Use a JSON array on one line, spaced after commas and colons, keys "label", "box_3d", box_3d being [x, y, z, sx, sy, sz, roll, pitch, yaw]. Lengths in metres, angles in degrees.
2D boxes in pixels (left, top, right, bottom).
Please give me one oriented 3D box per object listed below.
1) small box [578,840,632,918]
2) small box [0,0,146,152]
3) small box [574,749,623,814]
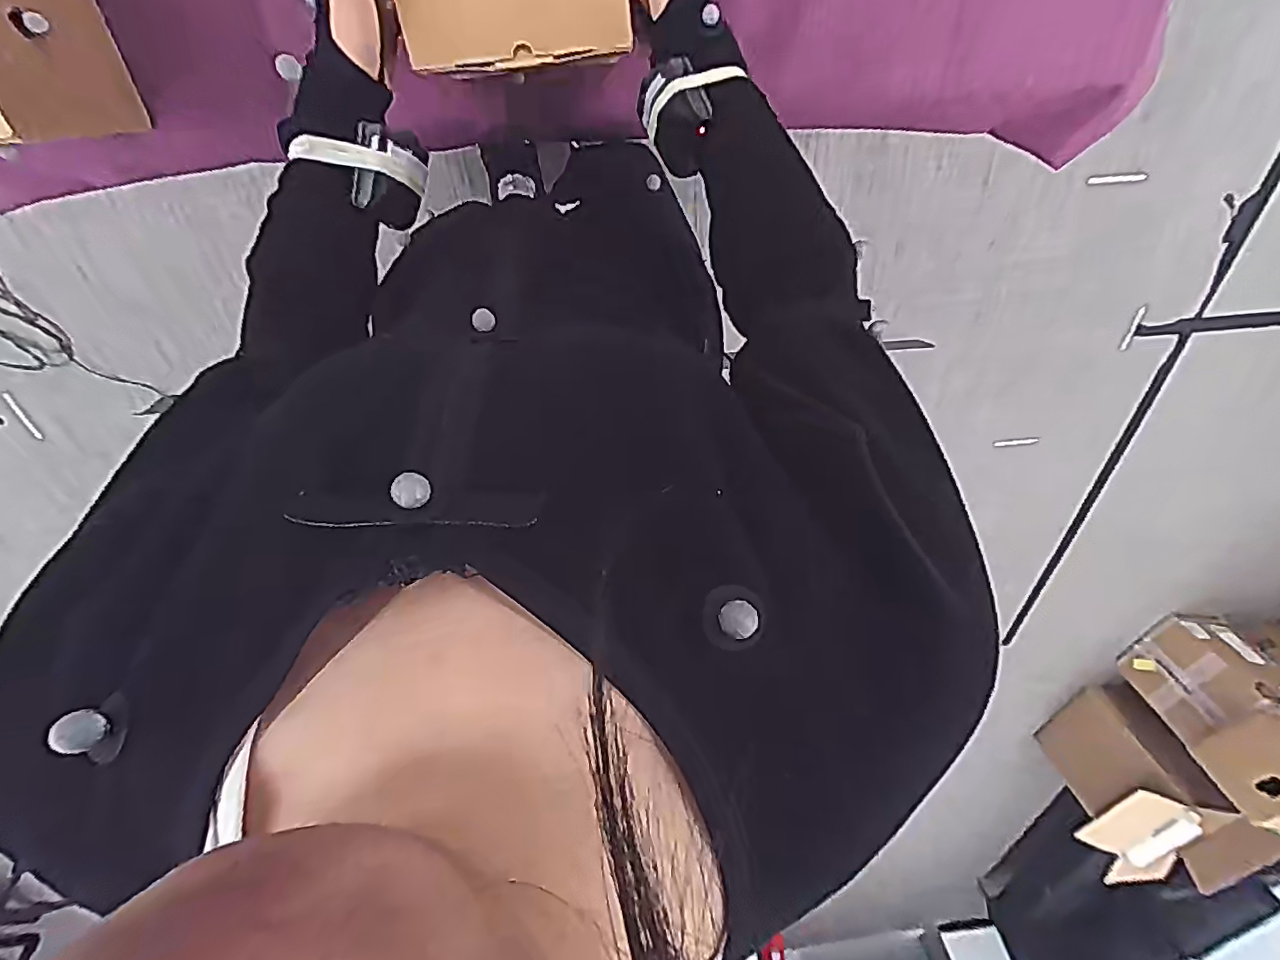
[{"label": "small box", "box_3d": [-0.124, 1.383, 1.877, 0.179, 0.176, 0.168, -3, 126, -6]}, {"label": "small box", "box_3d": [-0.543, -0.356, 0.406, 0.168, 0.176, 0.179, -5, 127, -5]}, {"label": "small box", "box_3d": [-0.165, 1.189, 2.140, 0.179, 0.176, 0.168, -6, 125, -3]}]
